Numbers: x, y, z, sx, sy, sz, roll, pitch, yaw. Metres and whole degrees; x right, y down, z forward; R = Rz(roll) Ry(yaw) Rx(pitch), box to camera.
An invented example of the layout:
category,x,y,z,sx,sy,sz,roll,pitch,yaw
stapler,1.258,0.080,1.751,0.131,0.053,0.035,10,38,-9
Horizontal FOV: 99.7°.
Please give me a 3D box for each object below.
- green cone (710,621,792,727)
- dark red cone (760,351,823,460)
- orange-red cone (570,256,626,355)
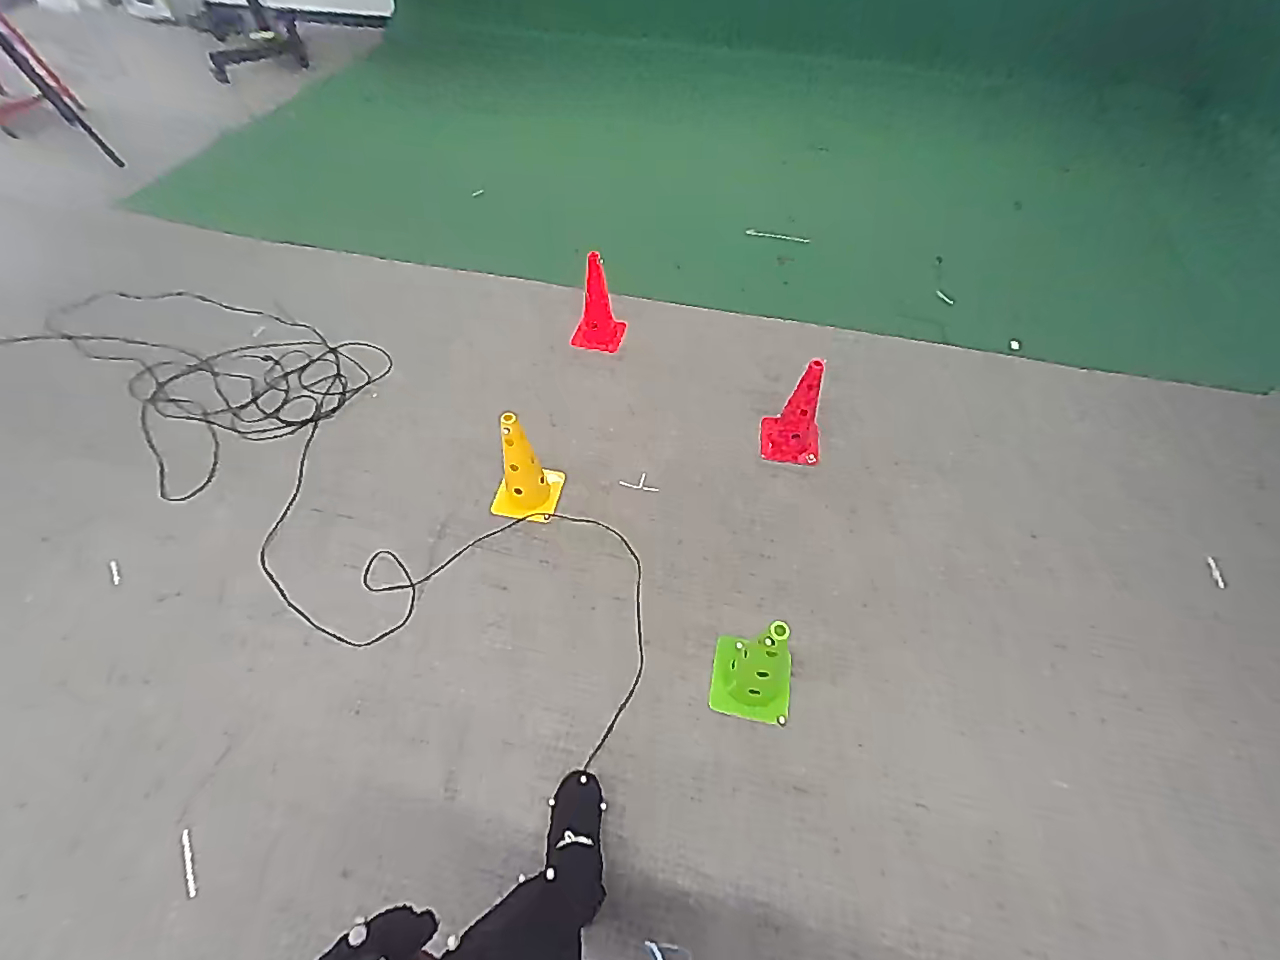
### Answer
category,x,y,z,sx,sy,sz,roll,pitch,yaw
green cone,0.289,0.419,1.271,0.202,0.368,0.200,9,53,8
dark red cone,0.519,-0.249,1.739,0.202,0.394,0.201,7,52,5
orange-red cone,-0.174,-0.690,2.089,0.198,0.360,0.199,11,55,9
